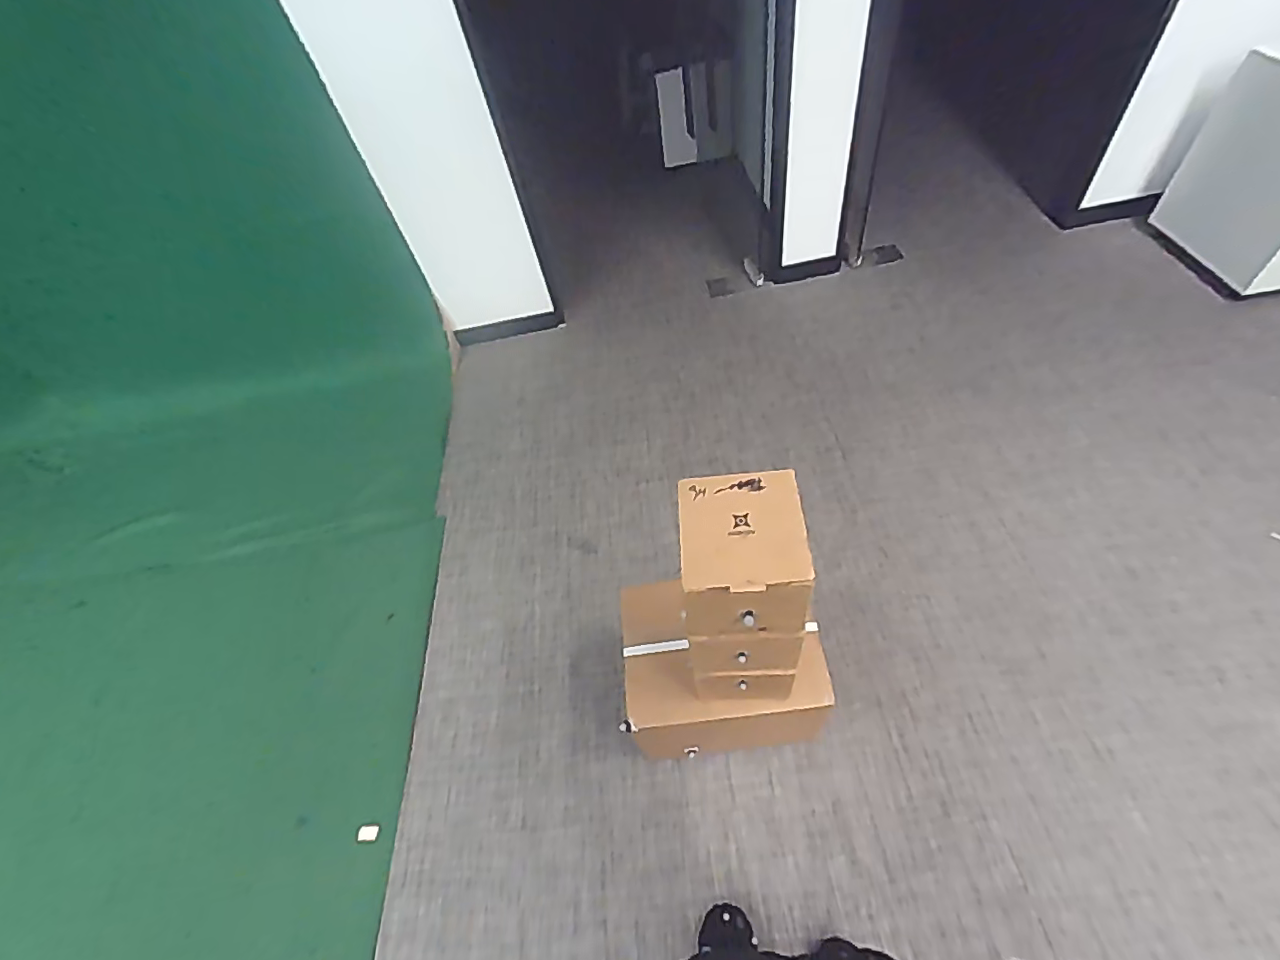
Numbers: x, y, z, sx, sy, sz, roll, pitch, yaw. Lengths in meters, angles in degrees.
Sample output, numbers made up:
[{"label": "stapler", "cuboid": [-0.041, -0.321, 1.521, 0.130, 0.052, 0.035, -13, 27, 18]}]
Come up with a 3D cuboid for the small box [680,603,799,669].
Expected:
[{"label": "small box", "cuboid": [0.163, 0.213, 0.913, 0.179, 0.176, 0.168, -5, 54, 9]}]

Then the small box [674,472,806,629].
[{"label": "small box", "cuboid": [0.141, 0.111, 0.786, 0.168, 0.176, 0.179, -4, 55, 8]}]

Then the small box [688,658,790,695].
[{"label": "small box", "cuboid": [0.185, 0.311, 1.042, 0.179, 0.176, 0.168, -3, 55, 7]}]
